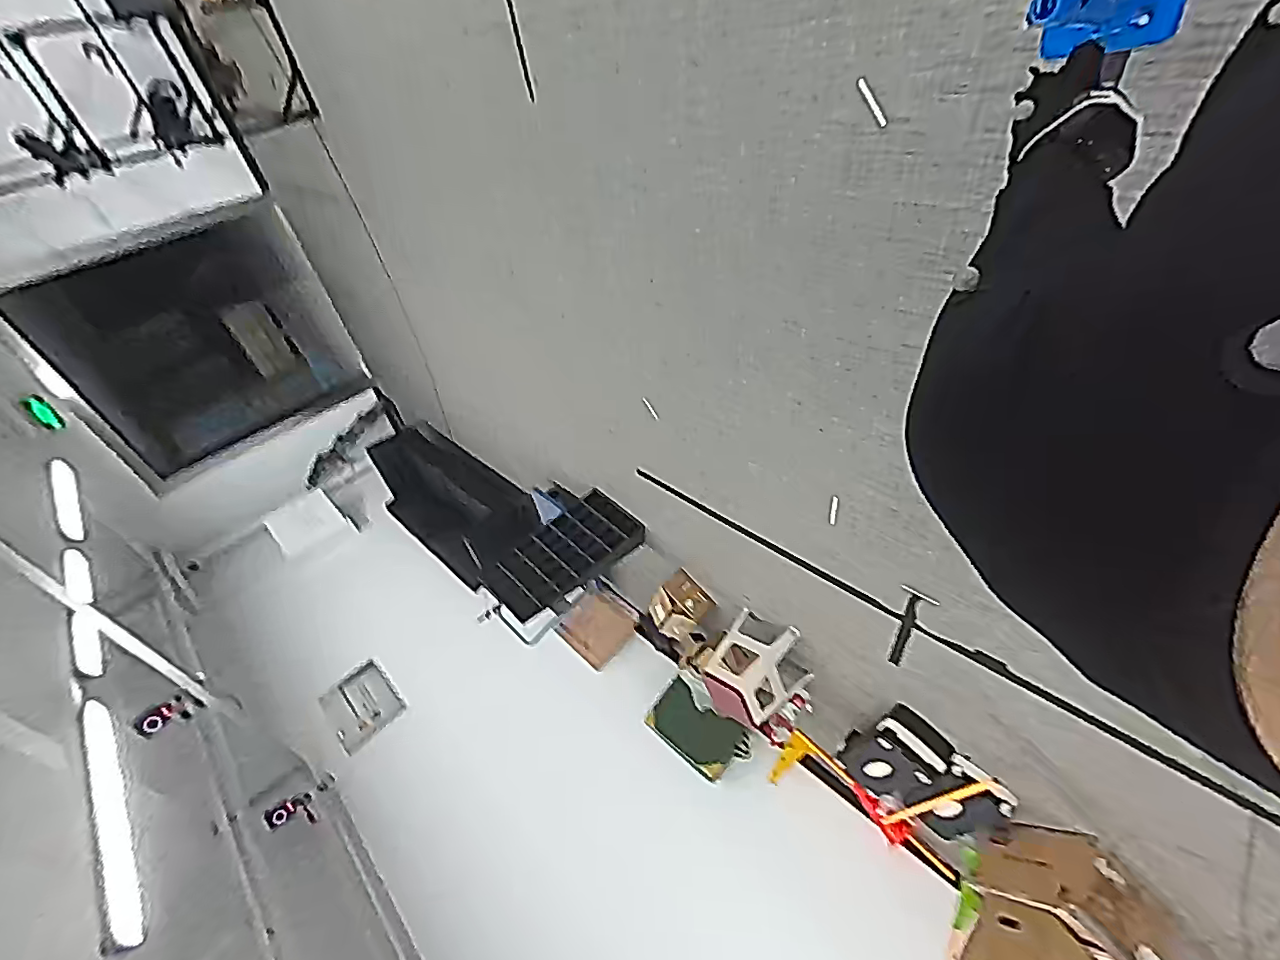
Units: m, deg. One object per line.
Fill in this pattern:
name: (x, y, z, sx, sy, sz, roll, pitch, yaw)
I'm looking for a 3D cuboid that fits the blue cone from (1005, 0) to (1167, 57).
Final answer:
blue cone: (0.682, -0.769, 0.852, 0.192, 0.380, 0.193, 28, 144, 40)
